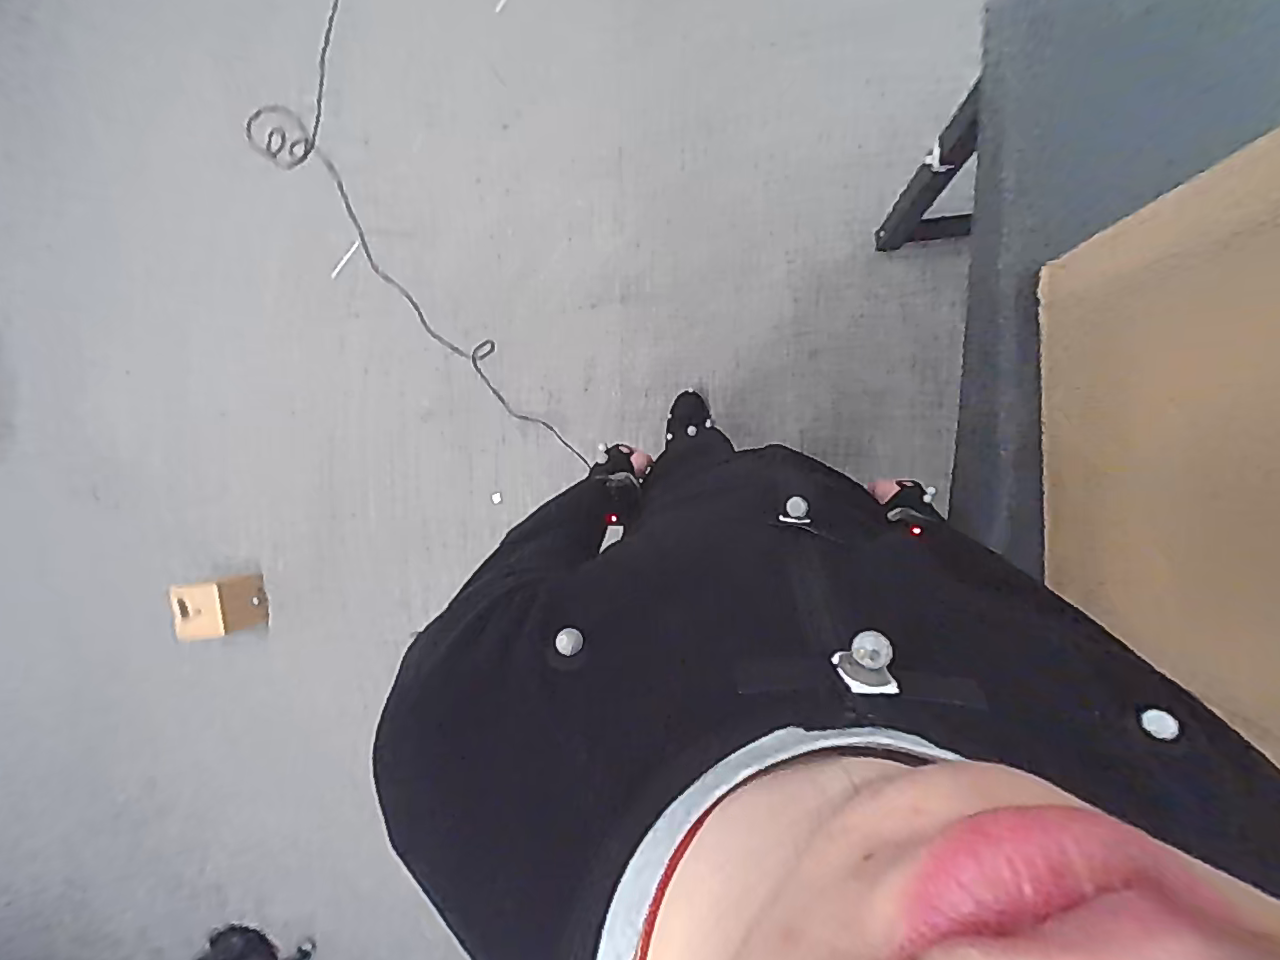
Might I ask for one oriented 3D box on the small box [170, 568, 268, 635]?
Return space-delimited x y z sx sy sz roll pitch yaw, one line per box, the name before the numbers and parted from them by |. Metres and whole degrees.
small box | -1.353 0.389 1.746 0.179 0.176 0.168 -7 93 9
